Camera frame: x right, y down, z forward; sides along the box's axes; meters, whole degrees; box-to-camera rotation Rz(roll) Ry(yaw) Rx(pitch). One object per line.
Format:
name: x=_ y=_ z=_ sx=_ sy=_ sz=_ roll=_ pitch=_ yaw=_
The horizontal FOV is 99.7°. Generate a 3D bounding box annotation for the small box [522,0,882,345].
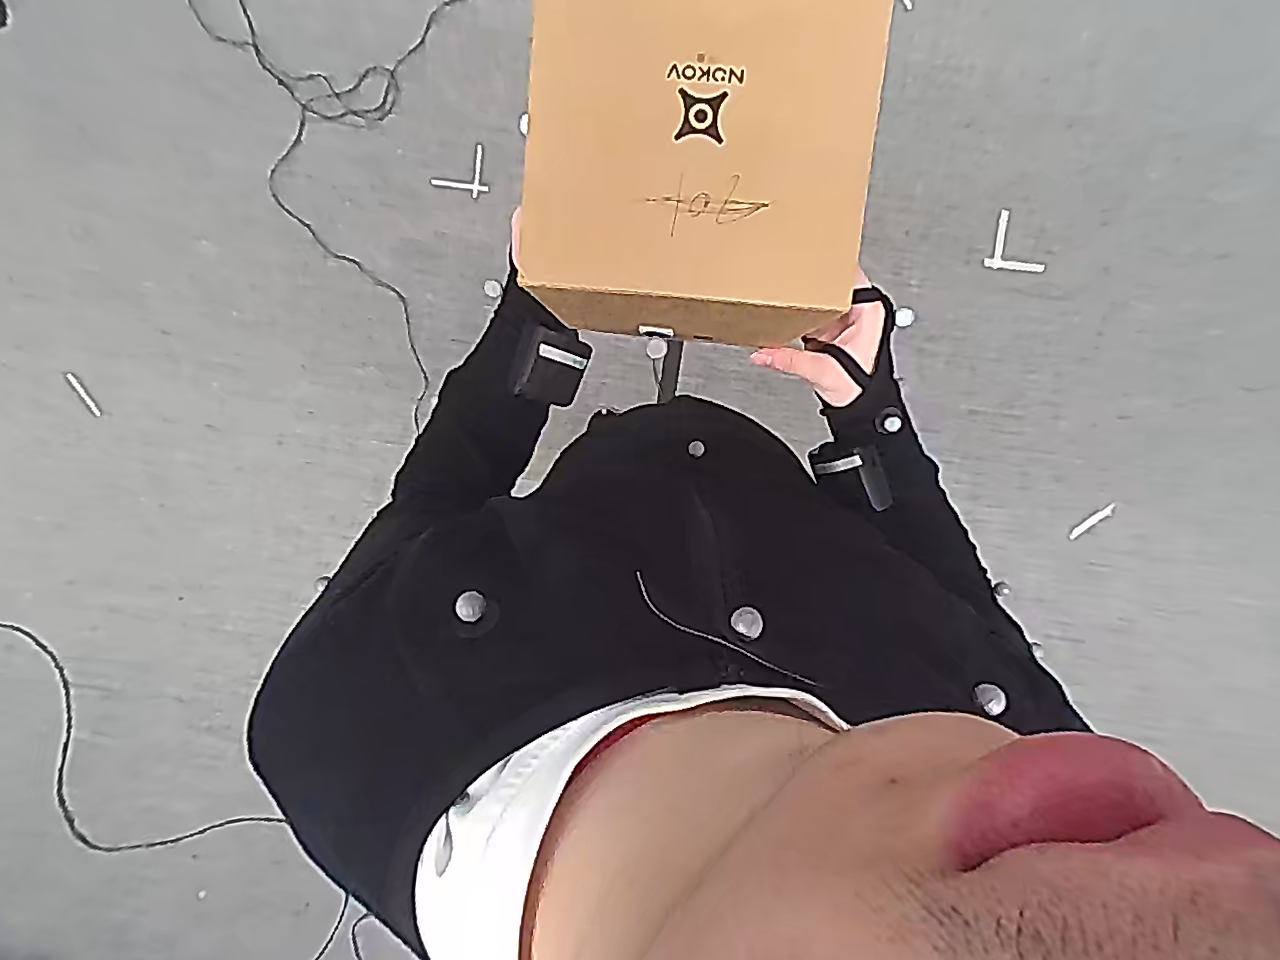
small box: x=0.031 y=-0.191 z=0.345 sx=0.168 sy=0.176 sz=0.179 roll=6 pitch=98 yaw=2
